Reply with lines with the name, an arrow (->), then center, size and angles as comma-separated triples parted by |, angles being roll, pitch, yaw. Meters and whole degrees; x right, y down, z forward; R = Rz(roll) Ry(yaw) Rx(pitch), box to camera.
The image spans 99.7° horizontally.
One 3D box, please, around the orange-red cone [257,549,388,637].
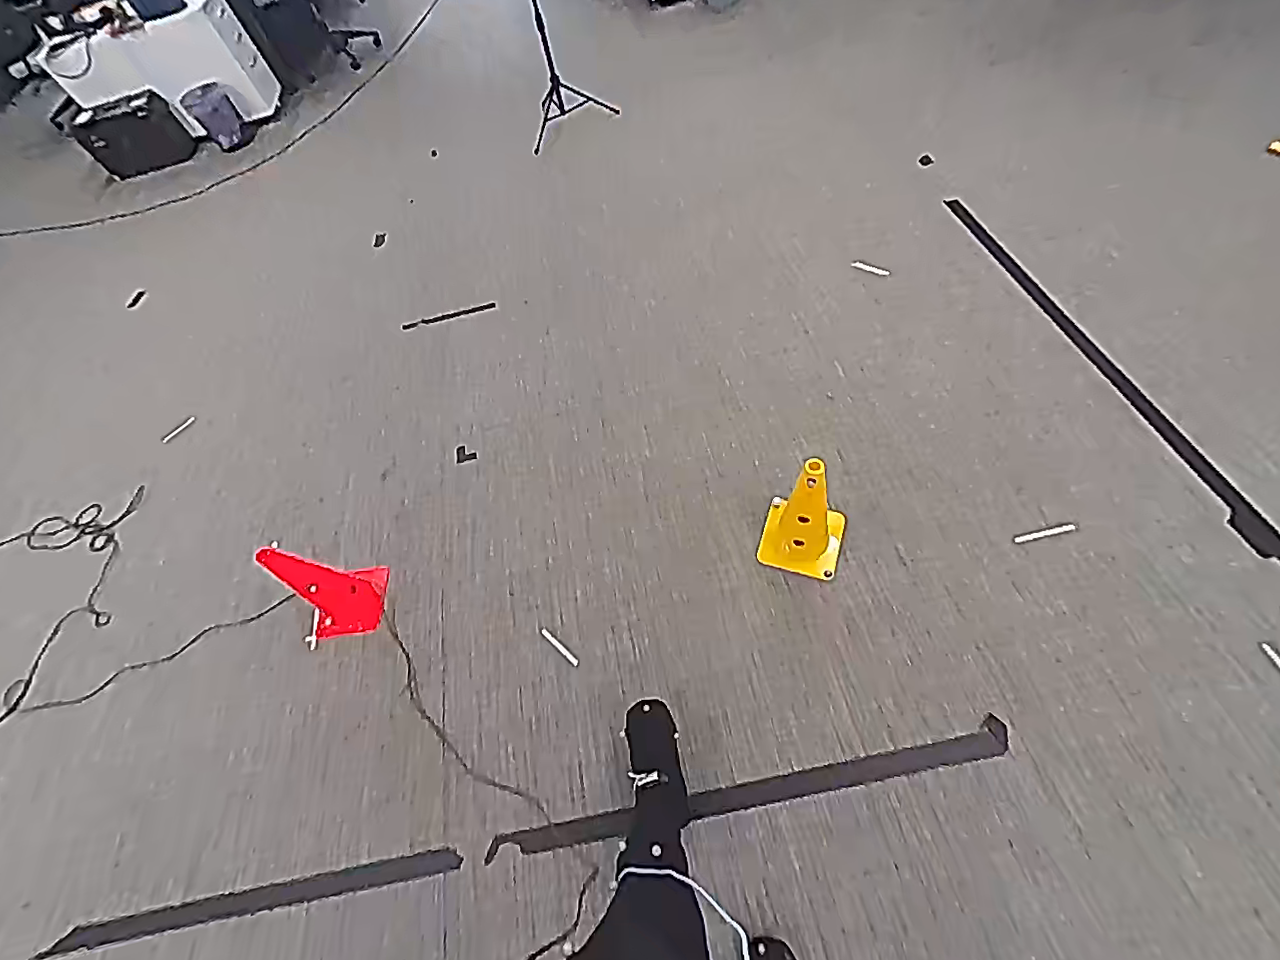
orange-red cone -> -0.871, 0.271, 1.442 | 0.199, 0.360, 0.198 | -7, 58, 5
